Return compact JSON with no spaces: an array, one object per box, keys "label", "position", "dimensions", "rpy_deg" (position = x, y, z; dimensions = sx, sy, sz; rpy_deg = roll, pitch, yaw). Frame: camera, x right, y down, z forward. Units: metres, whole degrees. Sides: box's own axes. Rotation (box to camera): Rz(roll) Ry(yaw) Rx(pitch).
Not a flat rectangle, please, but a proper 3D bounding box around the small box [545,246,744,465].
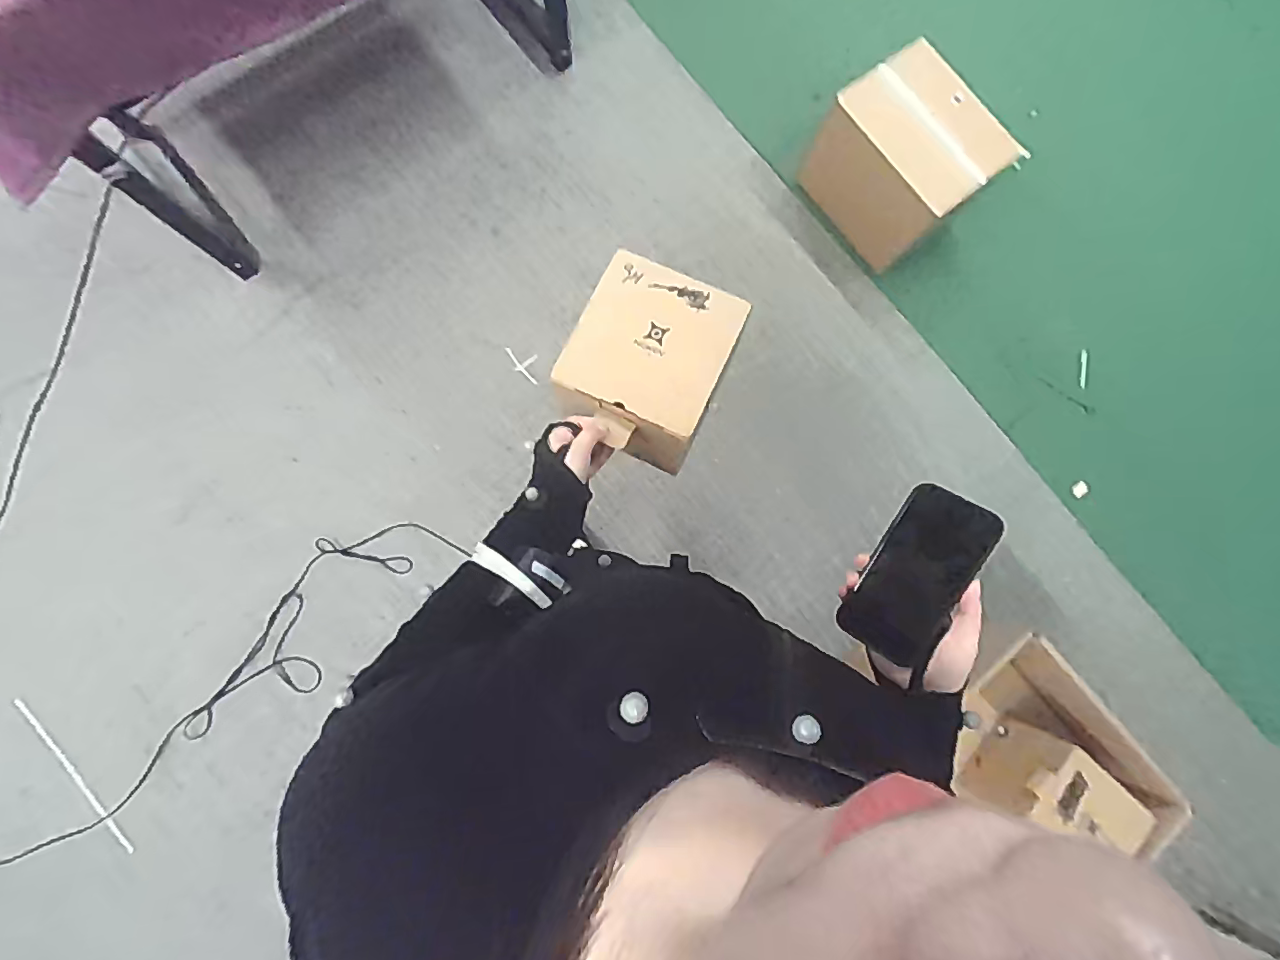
[{"label":"small box","position":[0.008,-0.136,0.658],"dimensions":[0.168,0.176,0.179],"rpy_deg":[24,79,5]}]
